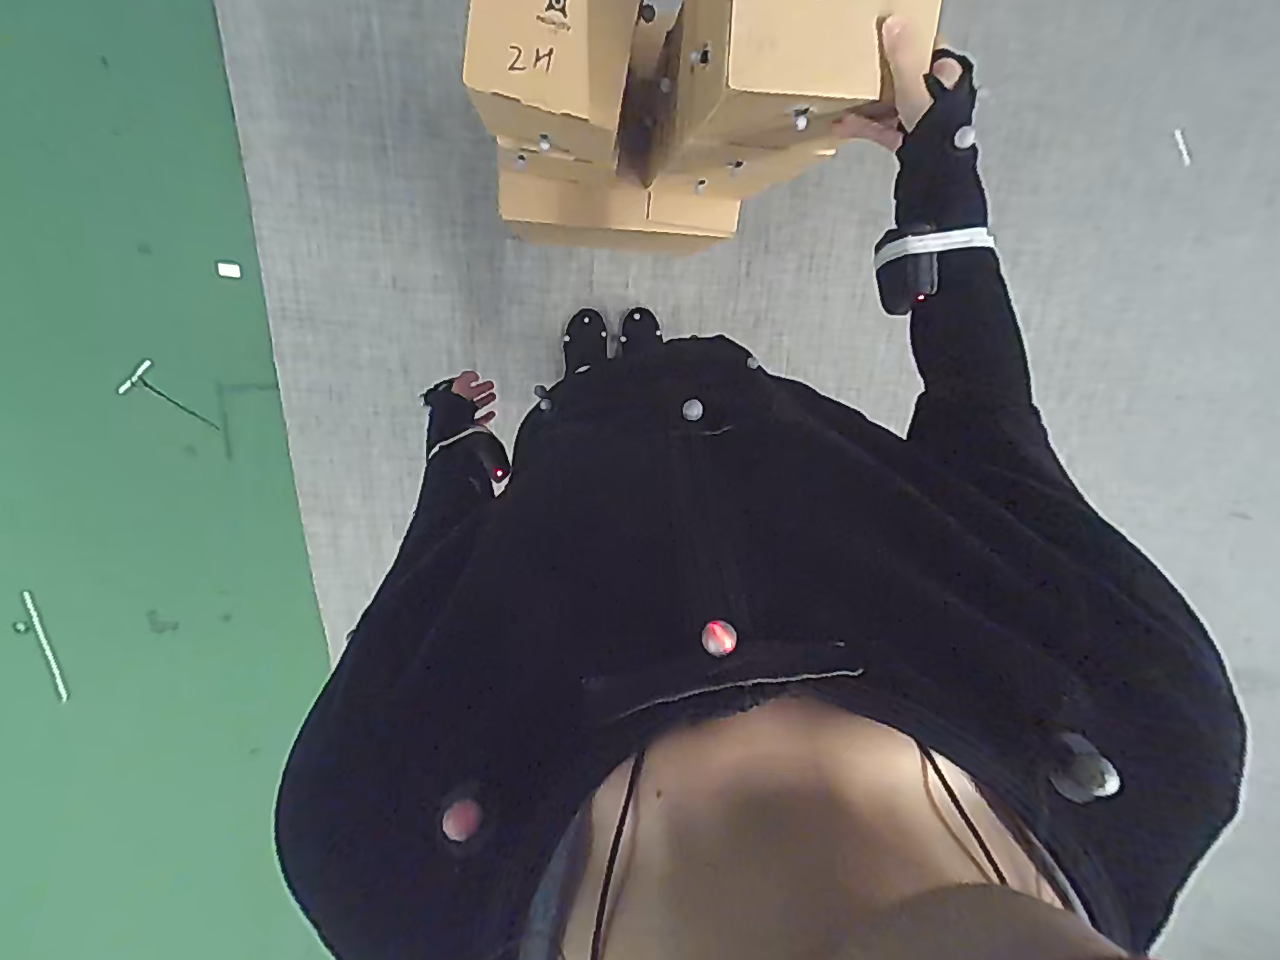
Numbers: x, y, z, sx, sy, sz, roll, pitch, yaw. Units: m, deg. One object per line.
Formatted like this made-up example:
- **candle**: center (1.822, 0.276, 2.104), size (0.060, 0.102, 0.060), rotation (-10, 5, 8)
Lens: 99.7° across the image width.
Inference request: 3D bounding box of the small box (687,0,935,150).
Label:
- **small box**: center (0.144, -0.420, 0.500), size (0.179, 0.176, 0.168), rotation (0, 110, -7)
